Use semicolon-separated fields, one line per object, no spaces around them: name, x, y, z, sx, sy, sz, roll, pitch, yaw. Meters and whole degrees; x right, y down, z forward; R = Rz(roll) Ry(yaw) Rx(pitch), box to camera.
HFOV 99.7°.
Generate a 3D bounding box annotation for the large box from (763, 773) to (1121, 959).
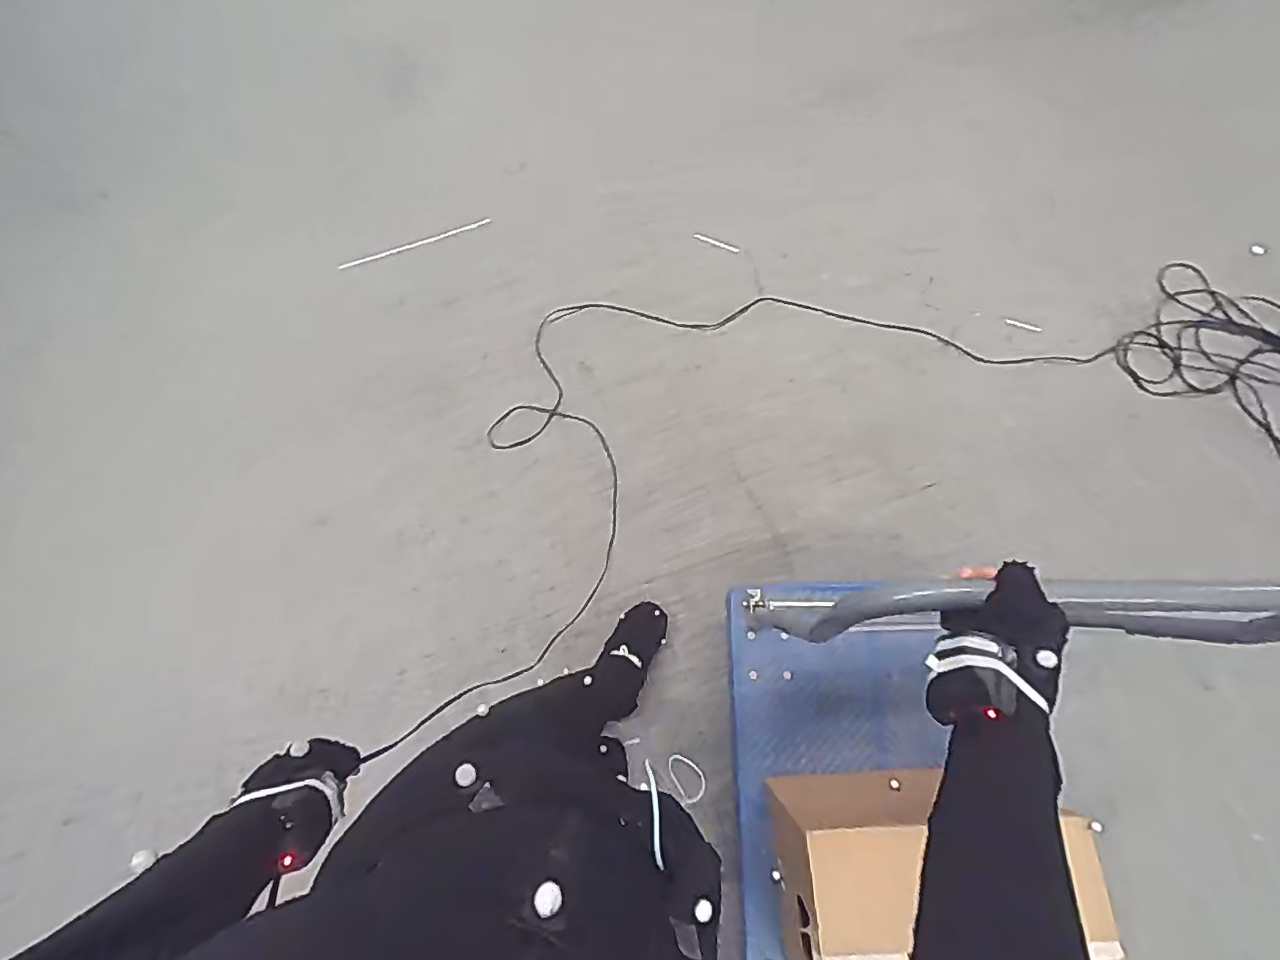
large box;0.443;0.682;0.867;0.408;0.320;0.320;-4;74;0
